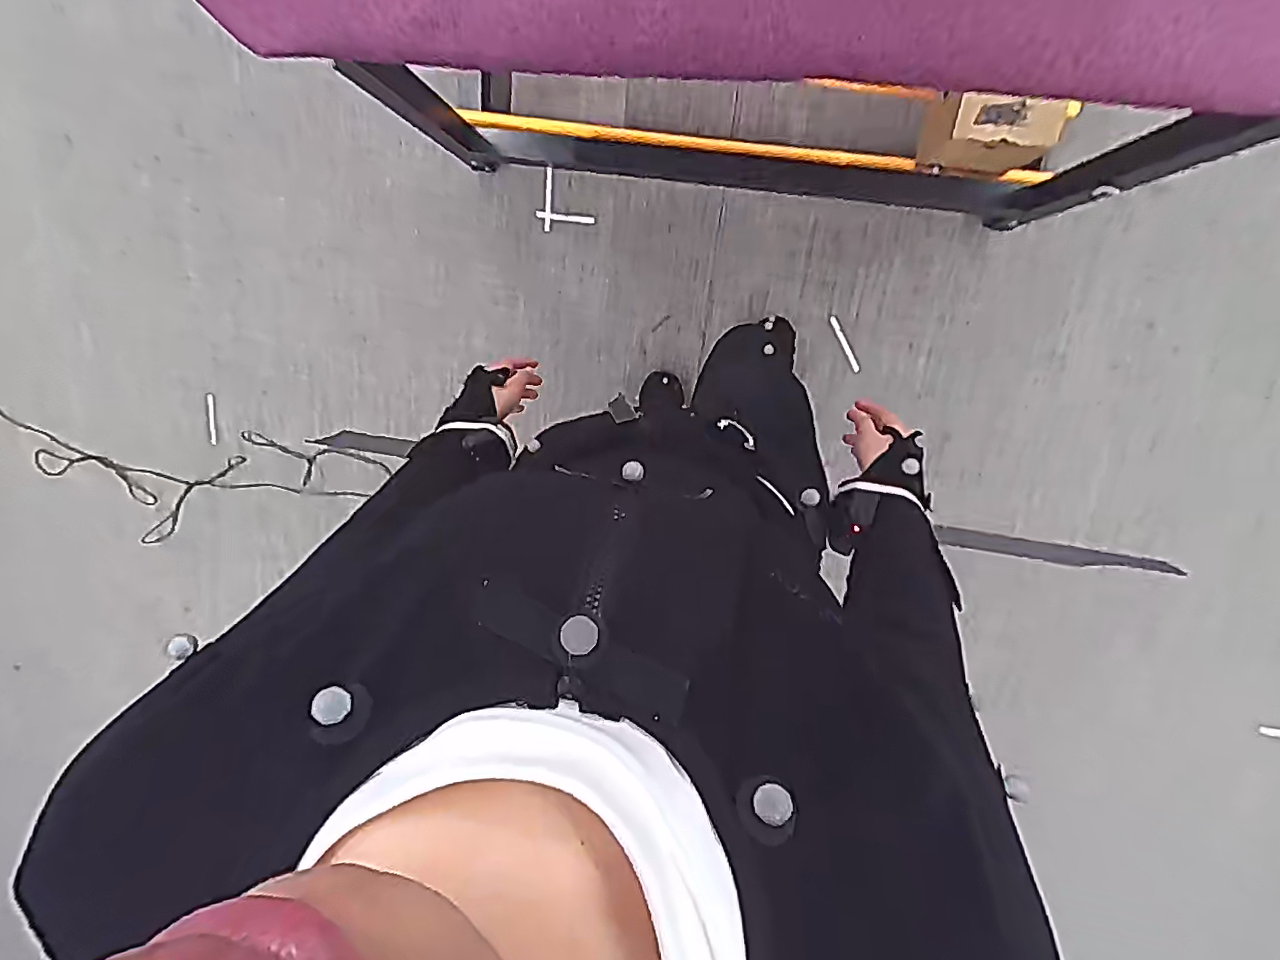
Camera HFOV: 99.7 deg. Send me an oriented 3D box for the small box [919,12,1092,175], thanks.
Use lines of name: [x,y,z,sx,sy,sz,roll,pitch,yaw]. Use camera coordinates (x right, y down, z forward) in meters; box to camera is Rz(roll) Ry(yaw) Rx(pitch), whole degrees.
small box: [0.604,-0.644,0.924,0.168,0.176,0.179,9,105,4]
